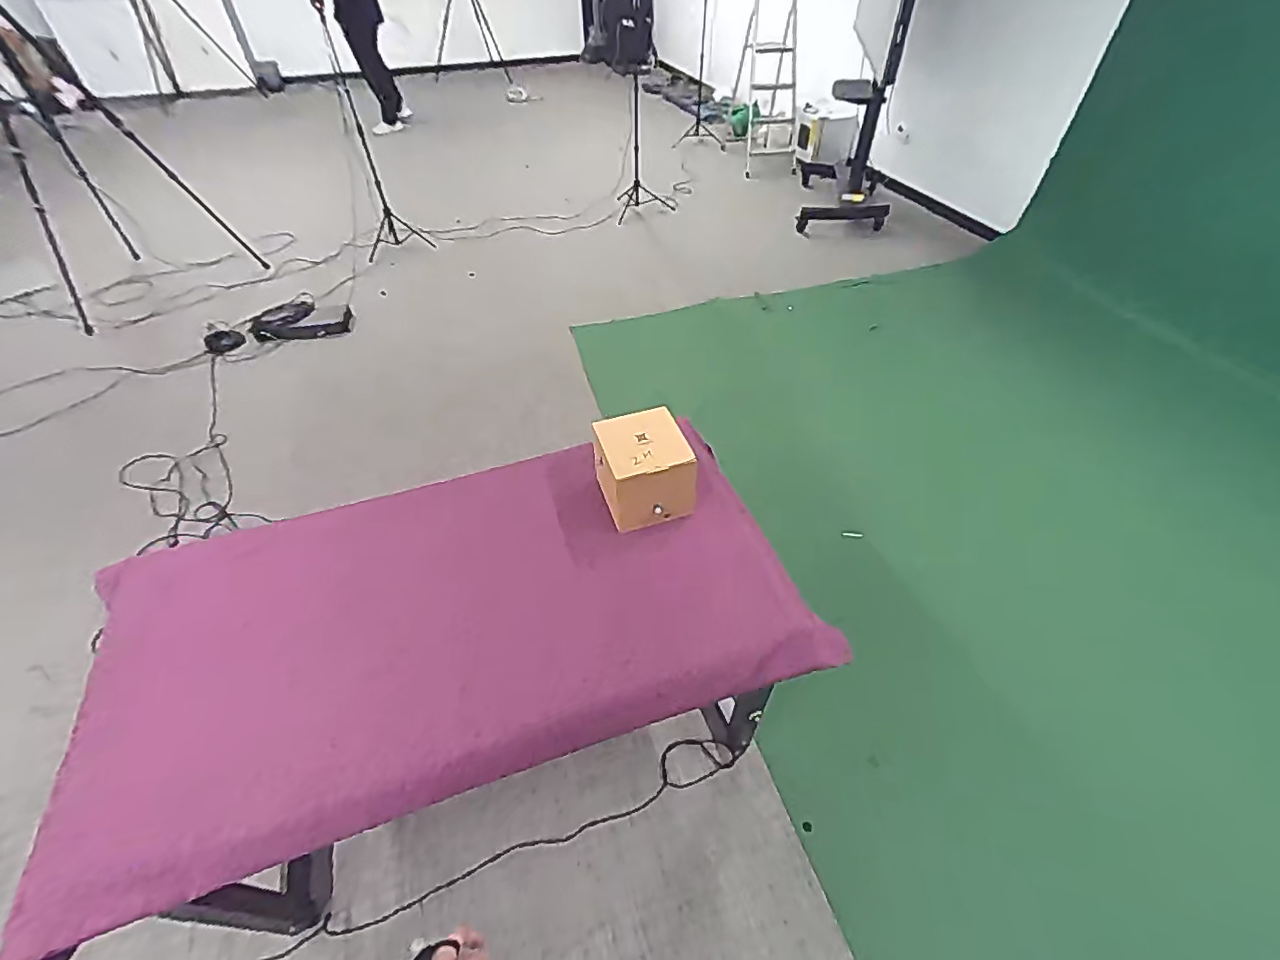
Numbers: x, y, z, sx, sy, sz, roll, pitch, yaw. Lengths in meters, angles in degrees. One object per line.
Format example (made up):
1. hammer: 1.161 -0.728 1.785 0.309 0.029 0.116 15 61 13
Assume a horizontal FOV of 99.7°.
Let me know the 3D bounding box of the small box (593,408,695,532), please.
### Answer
1. small box: 0.004 -0.021 1.132 0.168 0.176 0.179 -15 49 -12
